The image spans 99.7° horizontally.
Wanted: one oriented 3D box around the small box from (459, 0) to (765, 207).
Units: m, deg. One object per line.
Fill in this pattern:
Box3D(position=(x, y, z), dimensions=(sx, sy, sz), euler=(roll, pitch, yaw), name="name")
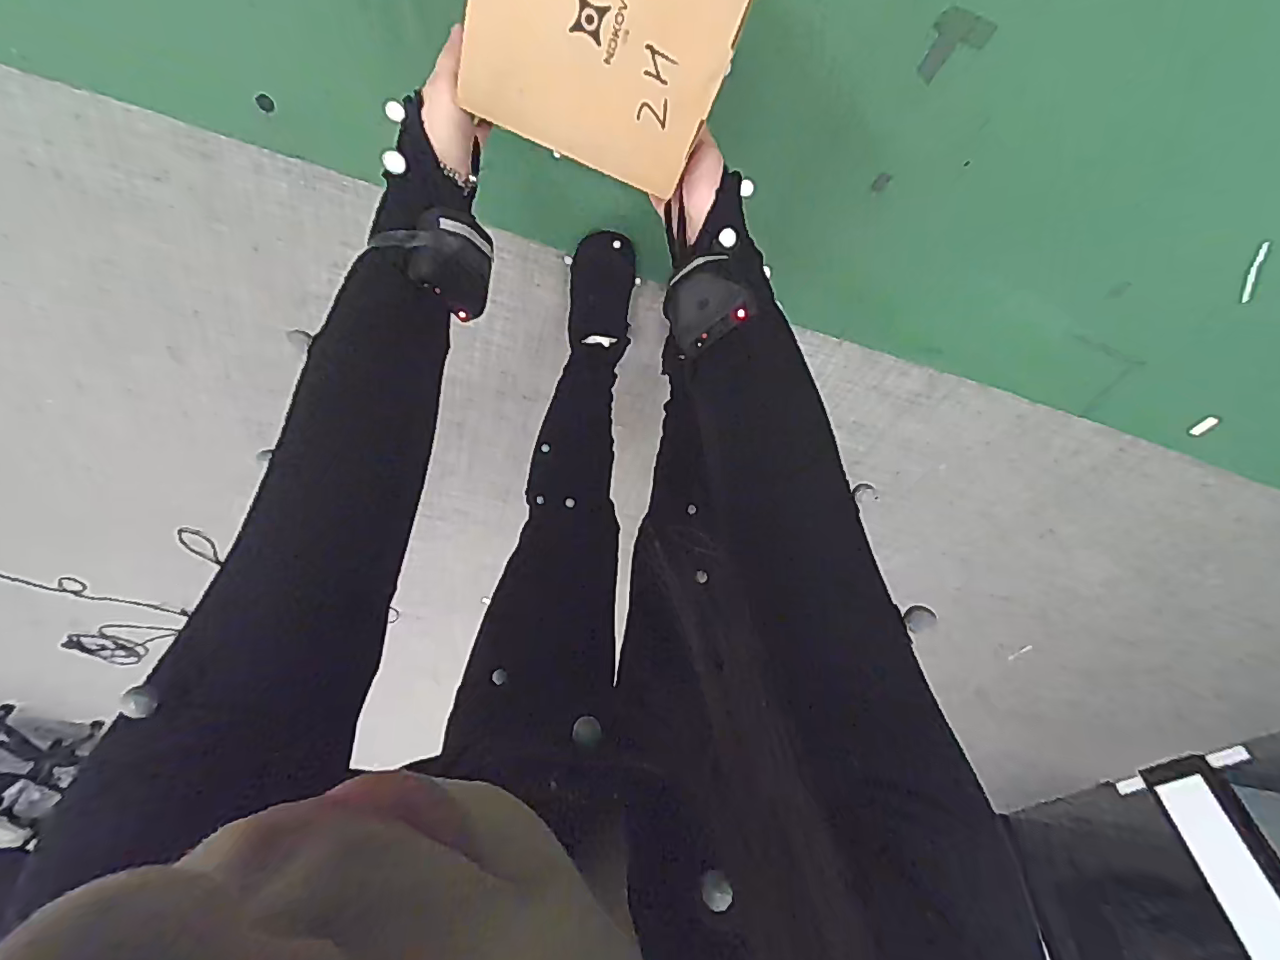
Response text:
Box3D(position=(-0.017, -0.350, 0.415), dimensions=(0.179, 0.176, 0.168), euler=(18, 134, -13), name="small box")
